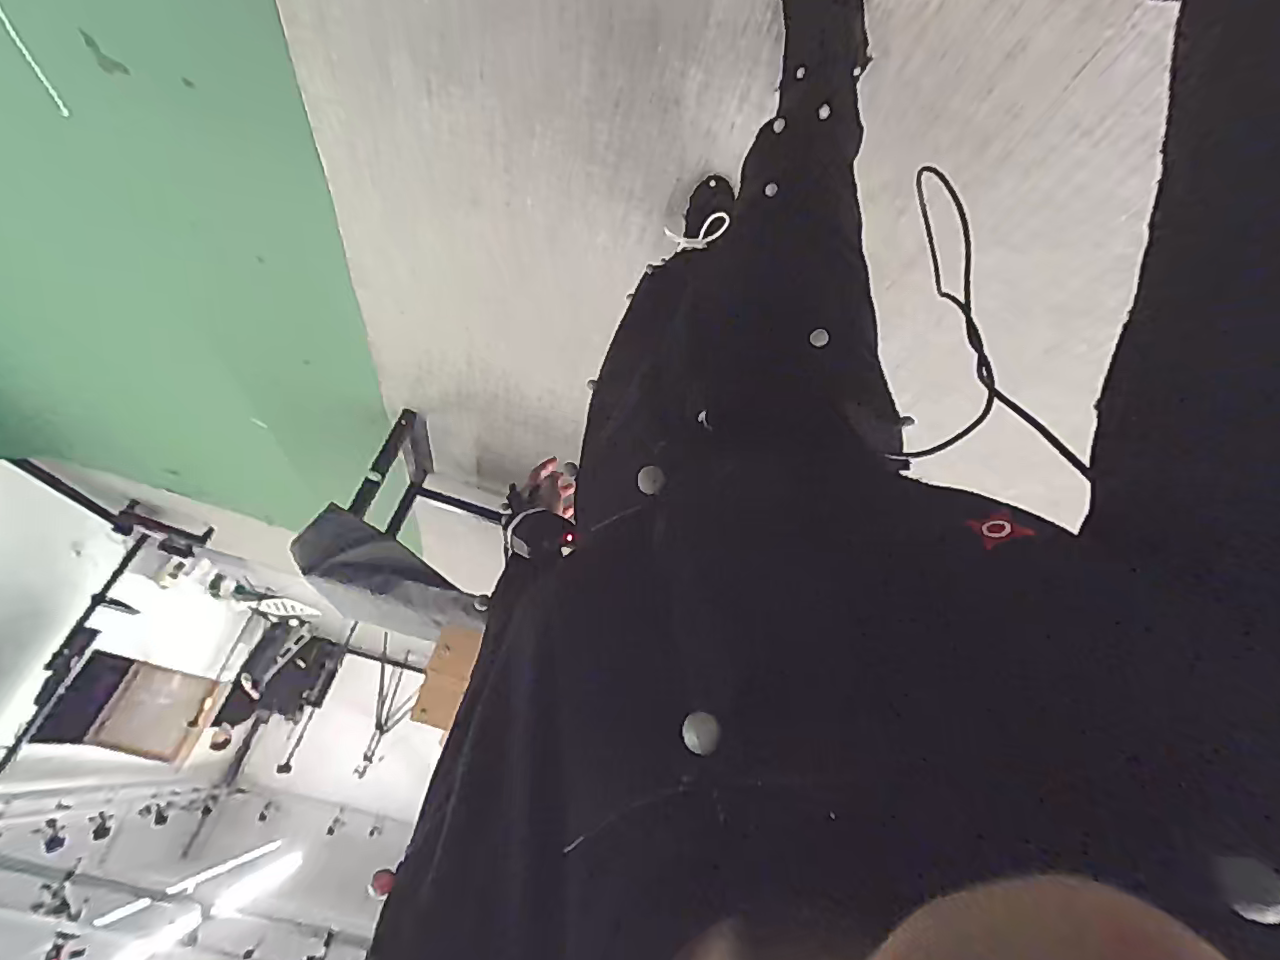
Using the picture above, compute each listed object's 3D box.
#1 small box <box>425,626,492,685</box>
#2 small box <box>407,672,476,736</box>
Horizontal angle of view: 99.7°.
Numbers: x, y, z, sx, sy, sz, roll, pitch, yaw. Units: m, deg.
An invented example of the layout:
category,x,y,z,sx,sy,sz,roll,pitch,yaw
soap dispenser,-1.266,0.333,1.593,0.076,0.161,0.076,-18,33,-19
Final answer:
category,x,y,z,sx,sy,sz,roll,pitch,yaw
small box,-0.651,0.634,1.949,0.179,0.176,0.168,18,152,-7
small box,-0.682,0.775,1.875,0.179,0.176,0.168,20,151,-8
